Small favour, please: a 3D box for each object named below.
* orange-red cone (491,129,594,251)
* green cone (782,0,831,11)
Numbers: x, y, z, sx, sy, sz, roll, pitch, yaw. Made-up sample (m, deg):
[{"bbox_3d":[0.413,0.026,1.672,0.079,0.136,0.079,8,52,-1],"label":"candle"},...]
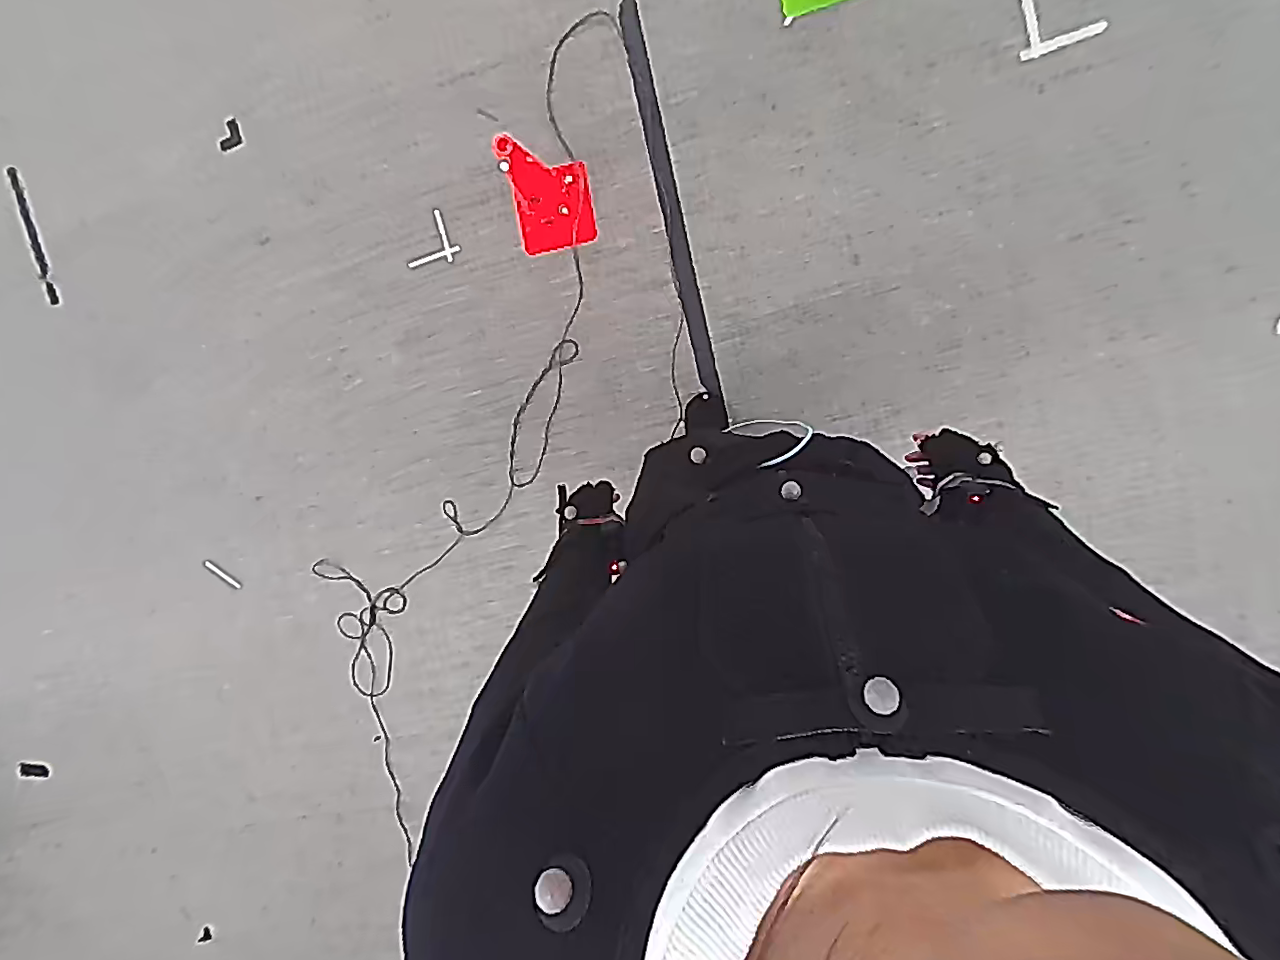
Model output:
[{"bbox_3d":[-0.247,-0.677,1.213,0.199,0.360,0.198,-8,96,10],"label":"orange-red cone"},{"bbox_3d":[0.387,-1.162,1.052,0.202,0.368,0.200,-13,96,8],"label":"green cone"}]
